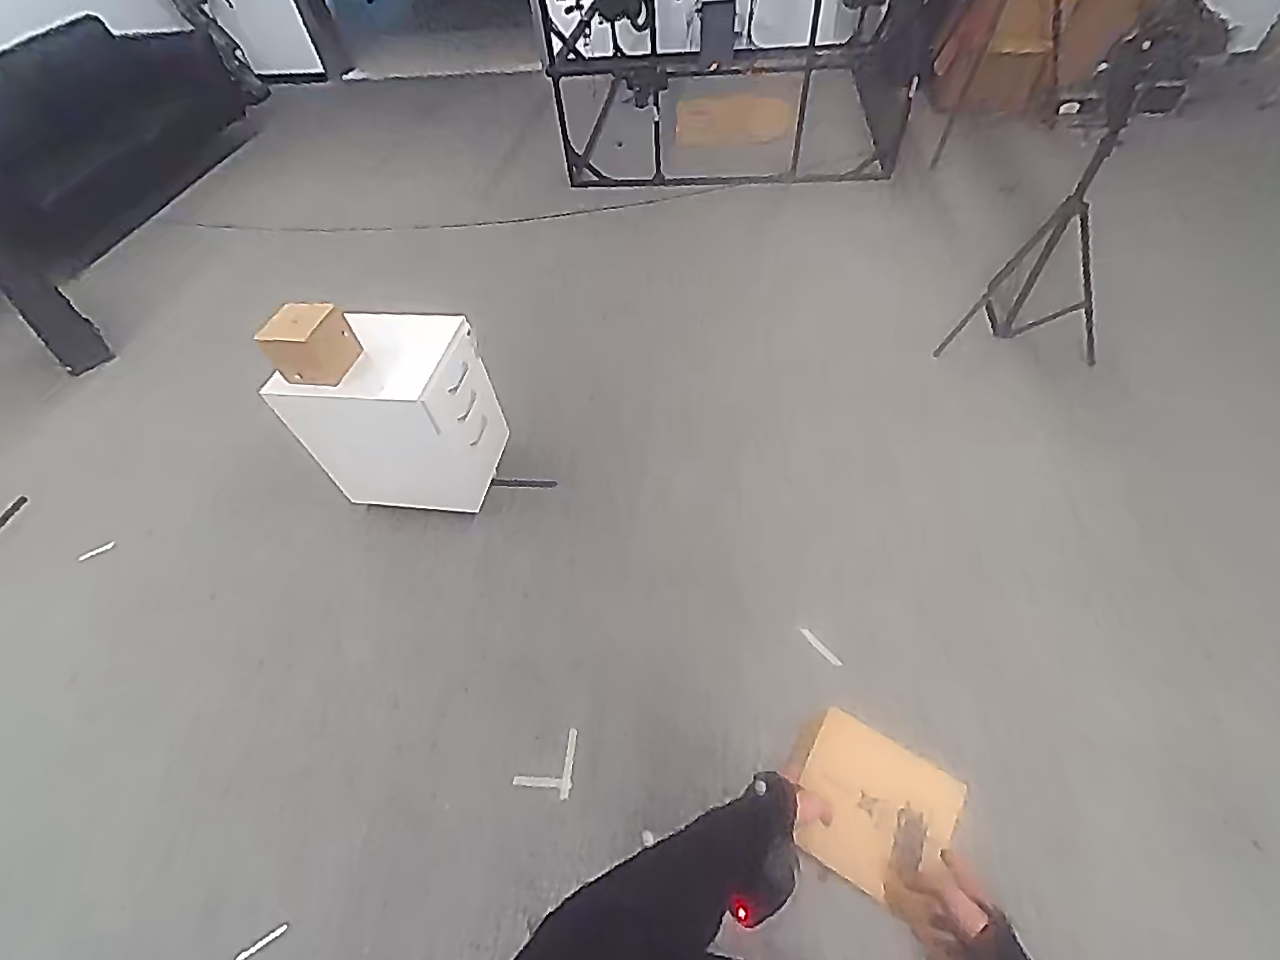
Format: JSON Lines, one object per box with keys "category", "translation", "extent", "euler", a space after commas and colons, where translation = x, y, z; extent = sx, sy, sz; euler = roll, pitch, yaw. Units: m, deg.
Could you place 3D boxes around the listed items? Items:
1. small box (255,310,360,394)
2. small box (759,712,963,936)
{"category": "small box", "translation": [-0.956, -0.375, 1.579], "extent": [0.168, 0.176, 0.179], "euler": [4, 52, 9]}
{"category": "small box", "translation": [0.275, 0.433, 0.705], "extent": [0.179, 0.176, 0.168], "euler": [27, 64, 19]}
